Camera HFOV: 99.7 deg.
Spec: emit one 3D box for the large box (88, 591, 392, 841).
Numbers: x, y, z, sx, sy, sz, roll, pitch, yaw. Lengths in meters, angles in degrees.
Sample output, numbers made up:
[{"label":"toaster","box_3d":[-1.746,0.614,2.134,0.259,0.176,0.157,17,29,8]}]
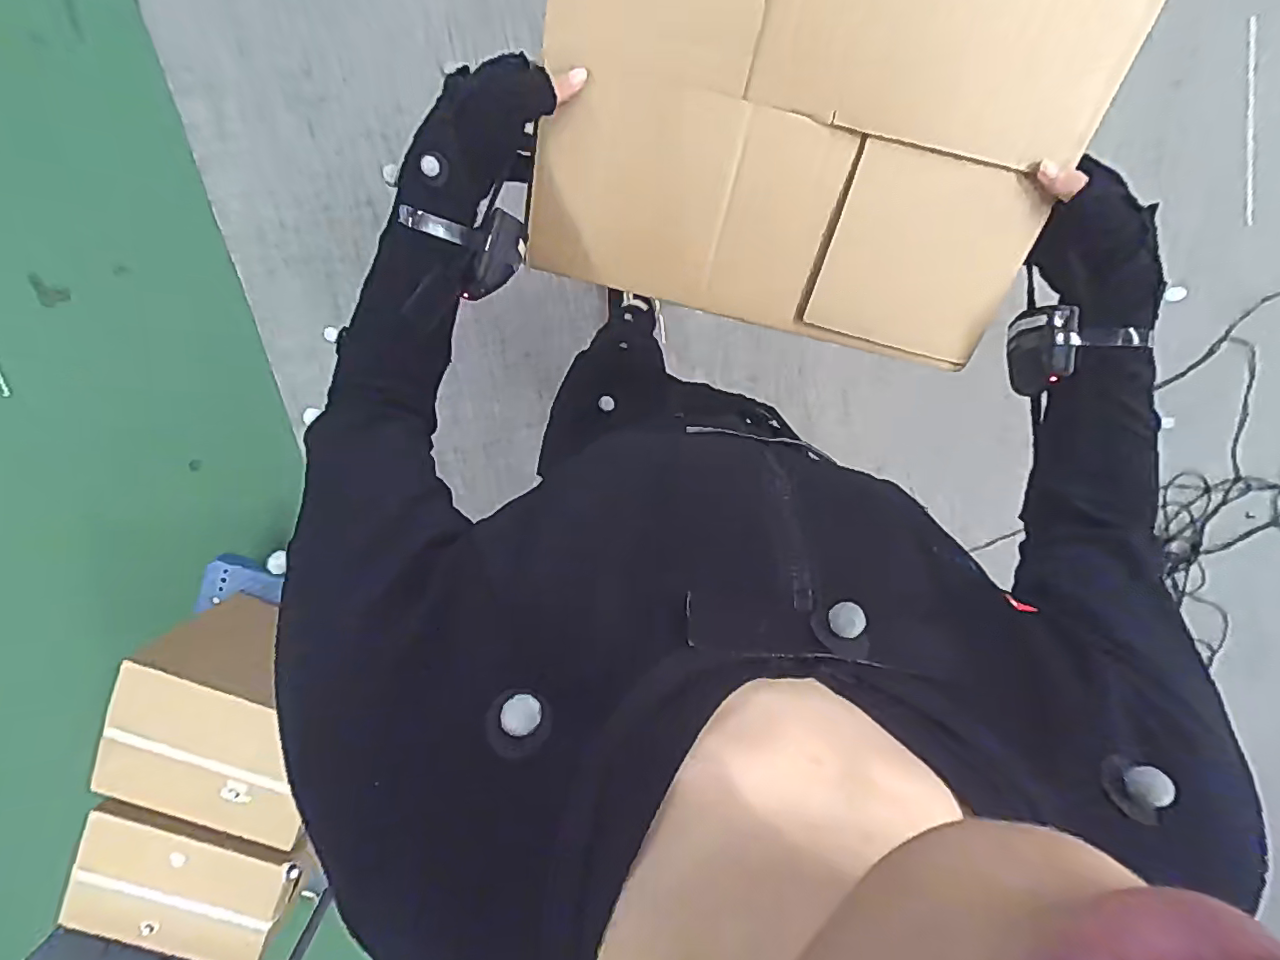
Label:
[{"label":"large box","box_3d":[-0.845,0.498,1.197,0.408,0.320,0.320,23,101,-8]}]
